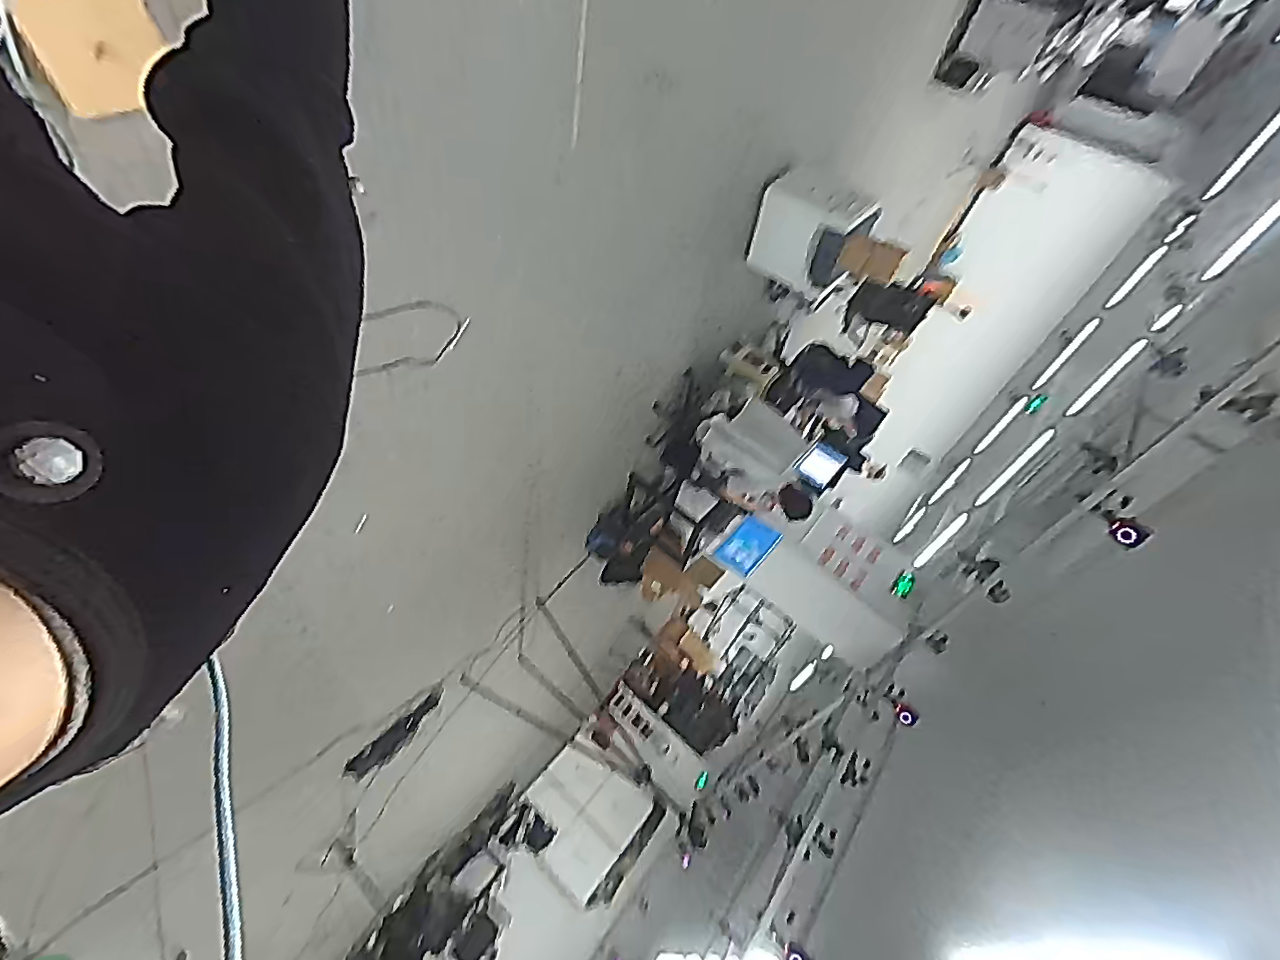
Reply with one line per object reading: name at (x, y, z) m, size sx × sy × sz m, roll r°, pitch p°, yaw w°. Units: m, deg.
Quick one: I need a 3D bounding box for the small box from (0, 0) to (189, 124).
small box at (-0.928, -0.731, 0.906) m, size 0.179 × 0.176 × 0.168 m, roll -42°, pitch 157°, yaw -31°
